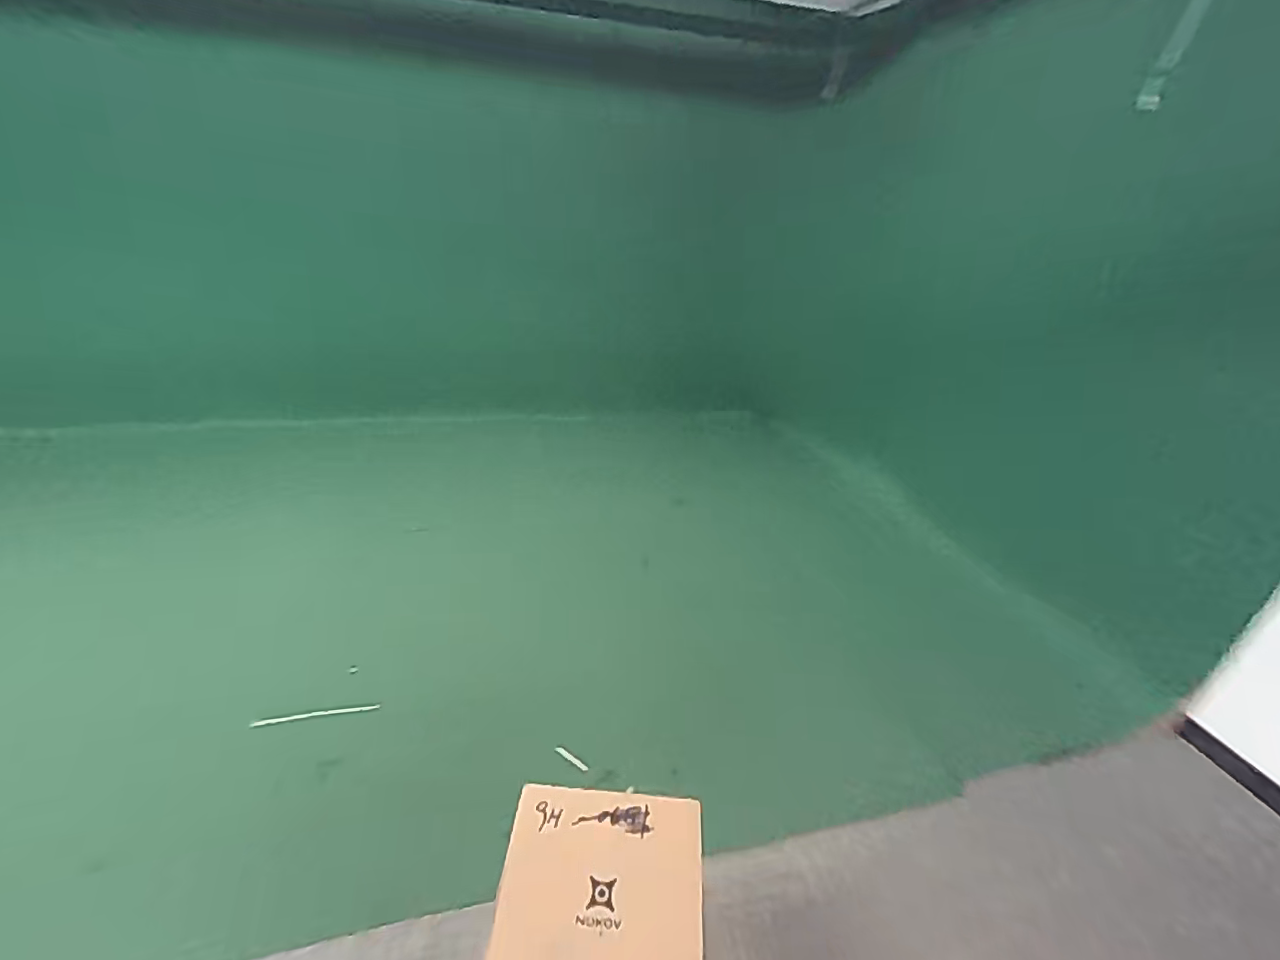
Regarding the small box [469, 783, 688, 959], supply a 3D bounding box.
[{"bbox_3d":[-0.045,0.400,0.478,0.168,0.176,0.179,4,38,2],"label":"small box"}]
